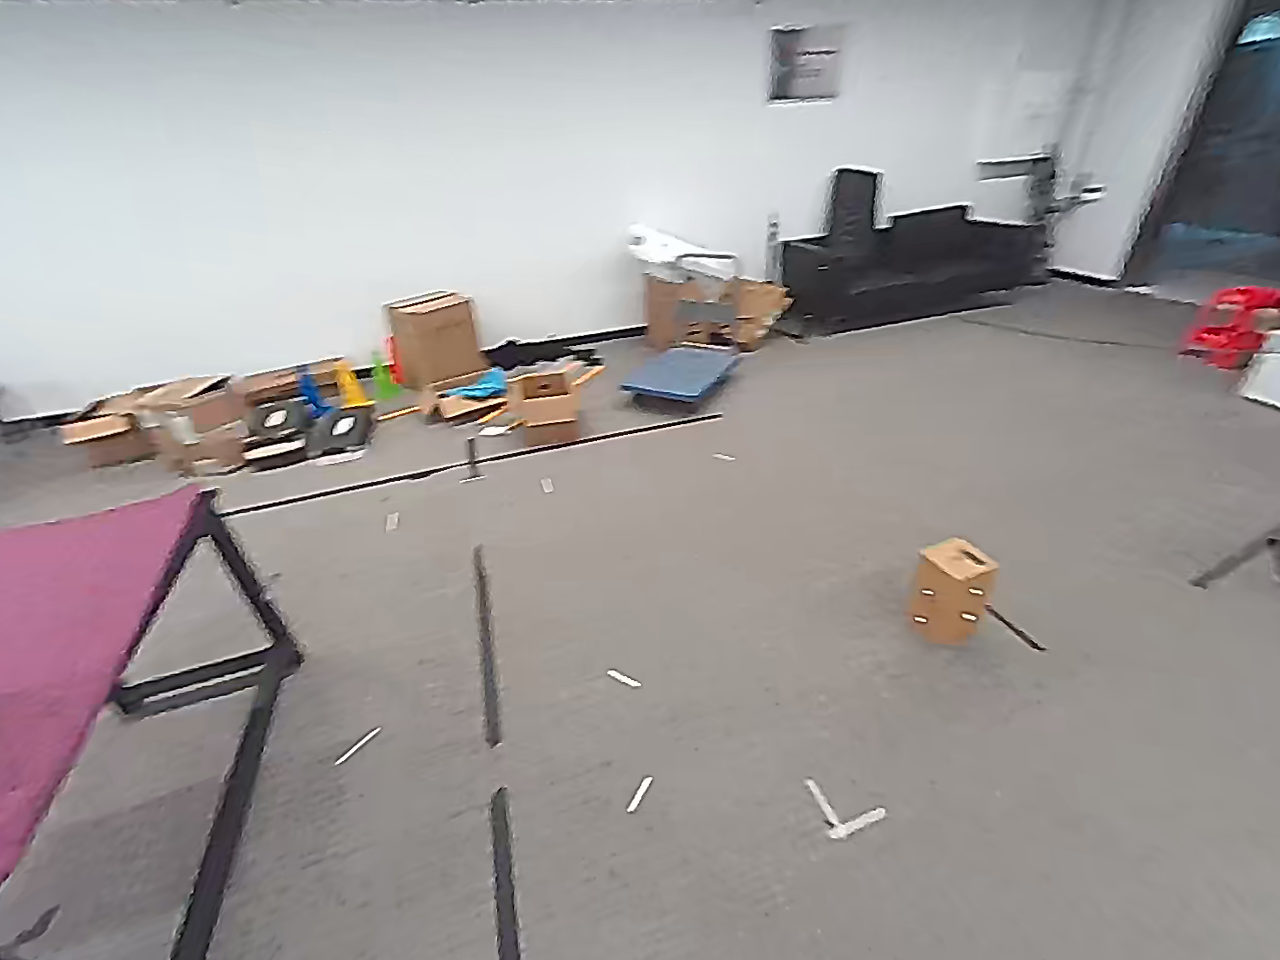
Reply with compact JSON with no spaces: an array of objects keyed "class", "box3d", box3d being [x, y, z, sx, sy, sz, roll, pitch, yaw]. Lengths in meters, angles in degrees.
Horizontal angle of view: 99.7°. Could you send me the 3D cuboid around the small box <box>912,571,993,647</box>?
[{"class":"small box","box3d":[1.109,0.462,1.934,0.179,0.176,0.168,-16,33,-18]}]
